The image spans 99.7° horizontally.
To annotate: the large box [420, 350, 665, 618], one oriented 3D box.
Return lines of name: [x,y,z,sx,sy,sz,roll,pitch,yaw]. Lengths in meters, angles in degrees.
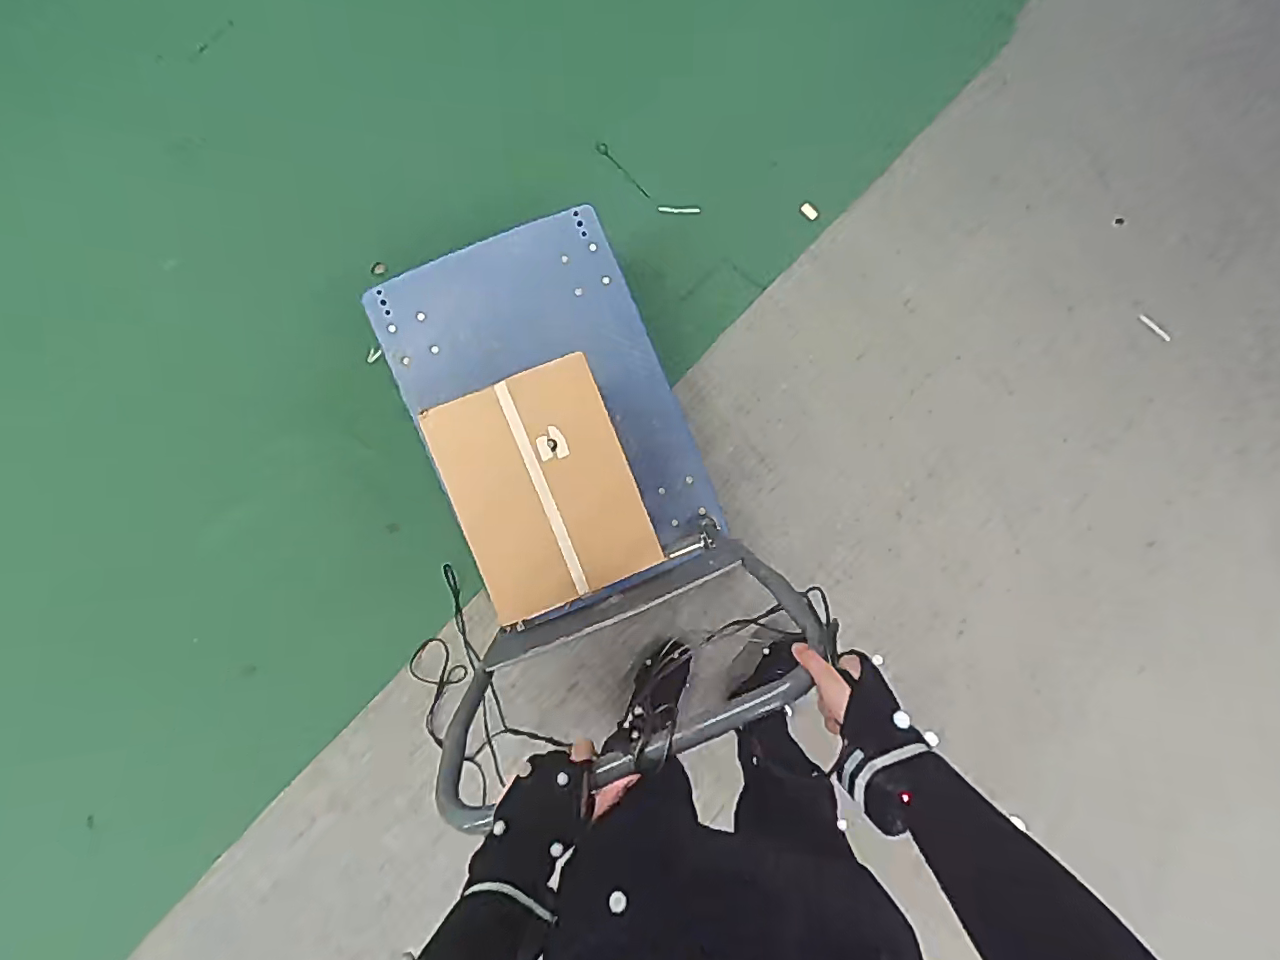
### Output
large box: [-0.173,0.007,1.106,0.320,0.320,0.408,-23,91,-2]
